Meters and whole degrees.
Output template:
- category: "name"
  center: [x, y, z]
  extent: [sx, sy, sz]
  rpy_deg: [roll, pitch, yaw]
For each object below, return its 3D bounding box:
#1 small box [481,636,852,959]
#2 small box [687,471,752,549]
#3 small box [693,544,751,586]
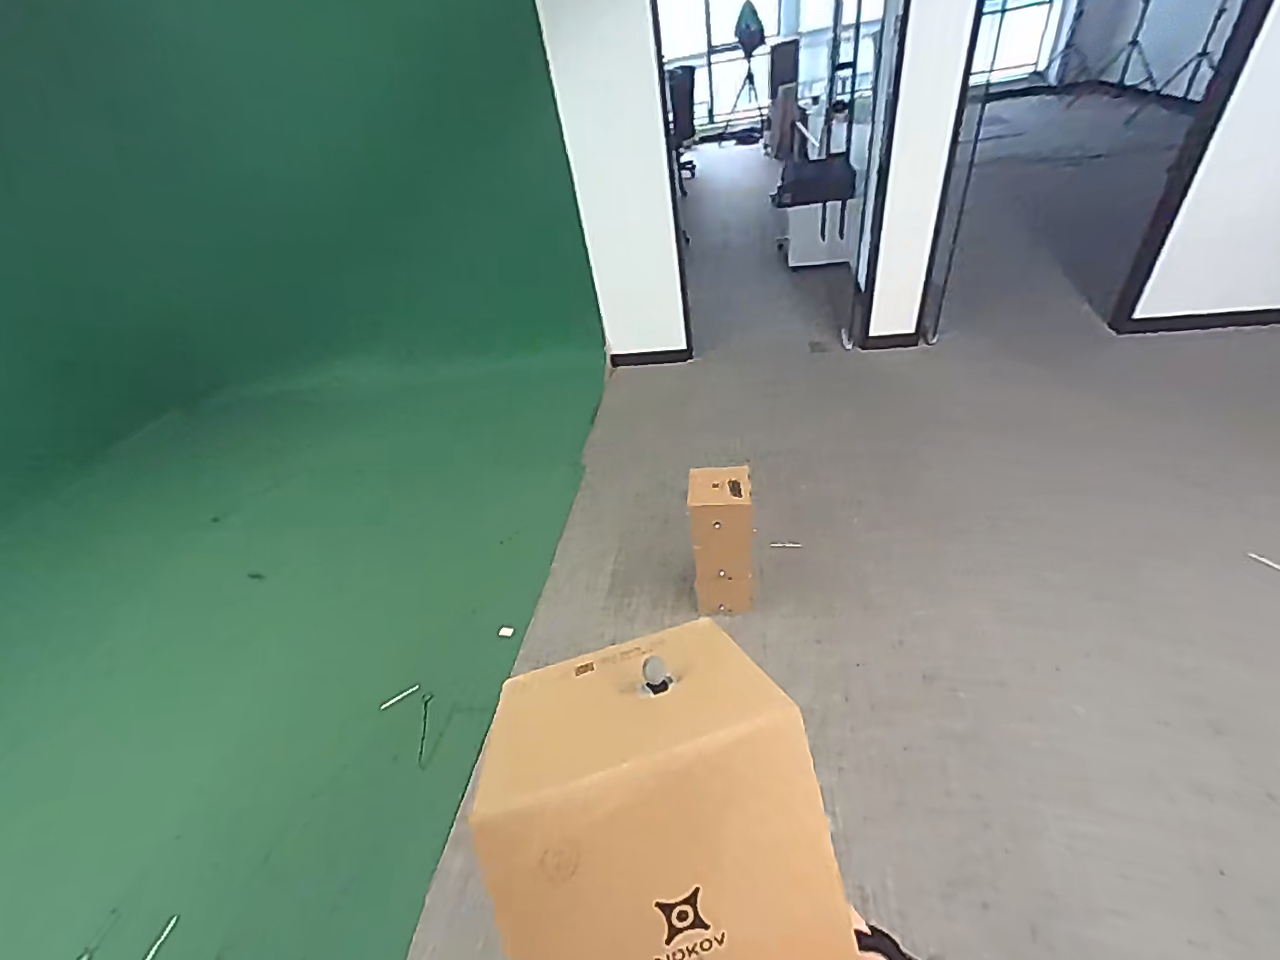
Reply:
- category: "small box"
  center: [0.008, 0.217, 0.349]
  extent: [0.168, 0.179, 0.176]
  rpy_deg: [-15, 4, -8]
- category: "small box"
  center: [0.239, 0.091, 1.588]
  extent: [0.179, 0.176, 0.168]
  rpy_deg: [-3, 40, 12]
- category: "small box"
  center: [0.258, 0.212, 1.698]
  extent: [0.168, 0.176, 0.179]
  rpy_deg: [-4, 41, 10]
